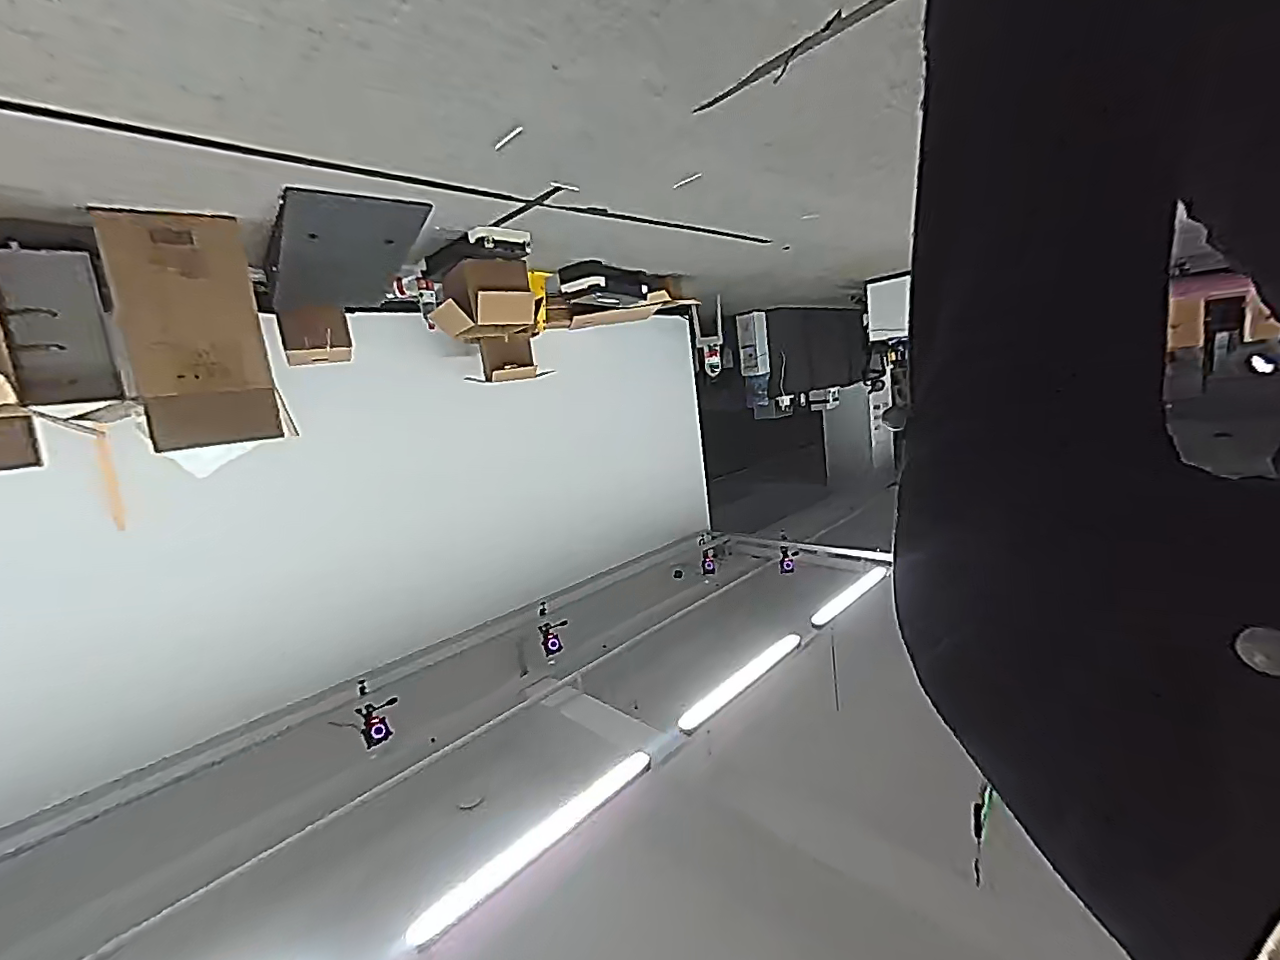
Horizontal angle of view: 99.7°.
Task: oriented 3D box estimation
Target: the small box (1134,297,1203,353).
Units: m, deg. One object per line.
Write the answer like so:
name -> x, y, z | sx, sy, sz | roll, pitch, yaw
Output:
small box -> 1.917, -0.560, 1.964 | 0.179, 0.176, 0.168 | 1, -170, 44
